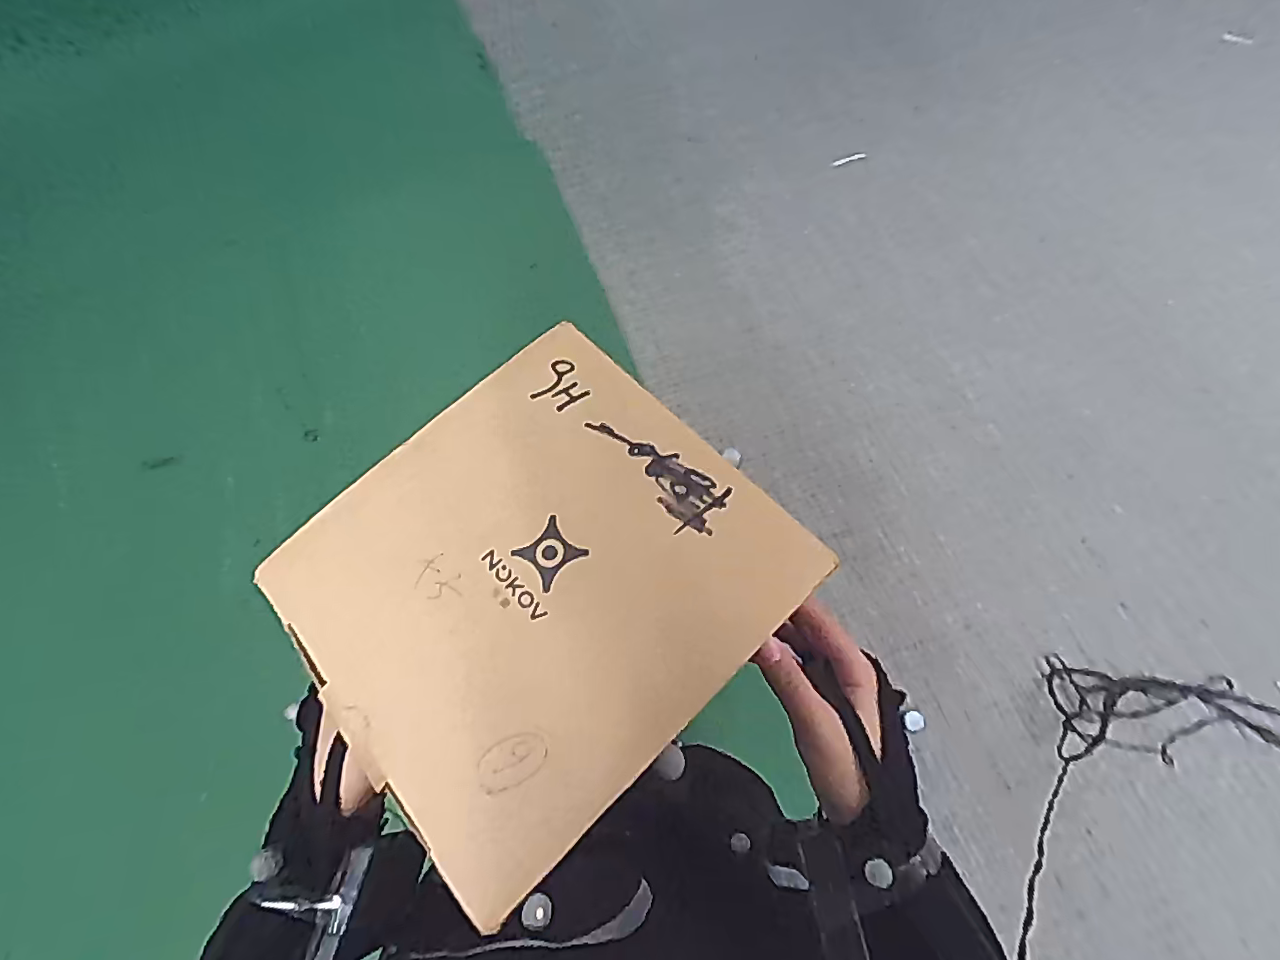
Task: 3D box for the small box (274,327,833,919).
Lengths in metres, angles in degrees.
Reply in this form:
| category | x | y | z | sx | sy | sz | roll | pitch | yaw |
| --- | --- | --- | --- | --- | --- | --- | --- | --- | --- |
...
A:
| category | x | y | z | sx | sy | sz | roll | pitch | yaw |
| --- | --- | --- | --- | --- | --- | --- | --- | --- | --- |
| small box | -0.031 | 0.065 | 0.290 | 0.179 | 0.176 | 0.168 | -42 | 71 | -10 |
